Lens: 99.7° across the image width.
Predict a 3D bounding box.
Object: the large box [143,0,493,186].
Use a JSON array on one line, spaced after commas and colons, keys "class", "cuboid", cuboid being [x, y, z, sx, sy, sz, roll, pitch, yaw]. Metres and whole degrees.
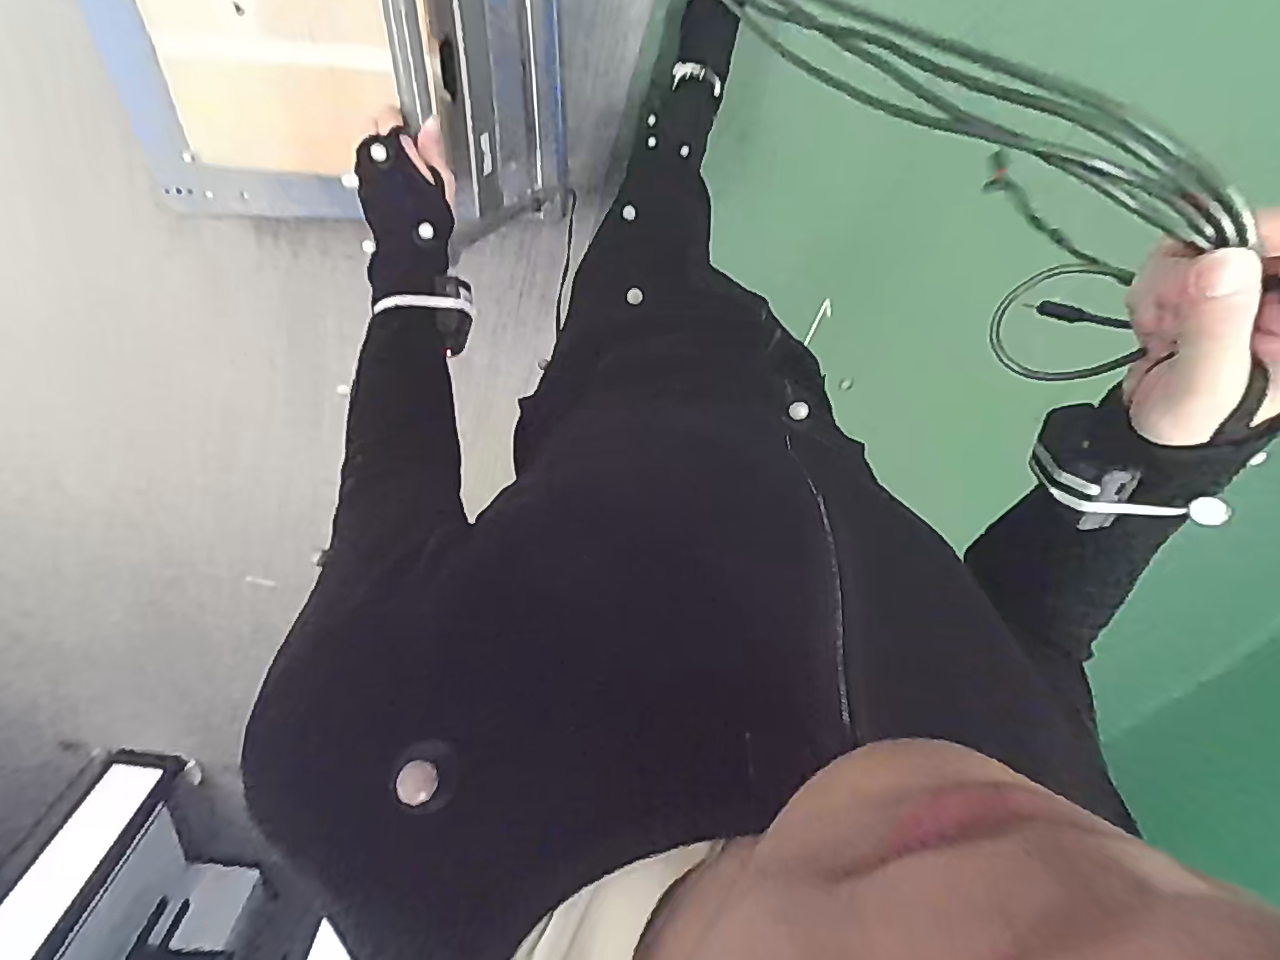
[{"class": "large box", "cuboid": [-0.493, -0.699, 0.909, 0.408, 0.320, 0.320, 3, 124, -2]}]
